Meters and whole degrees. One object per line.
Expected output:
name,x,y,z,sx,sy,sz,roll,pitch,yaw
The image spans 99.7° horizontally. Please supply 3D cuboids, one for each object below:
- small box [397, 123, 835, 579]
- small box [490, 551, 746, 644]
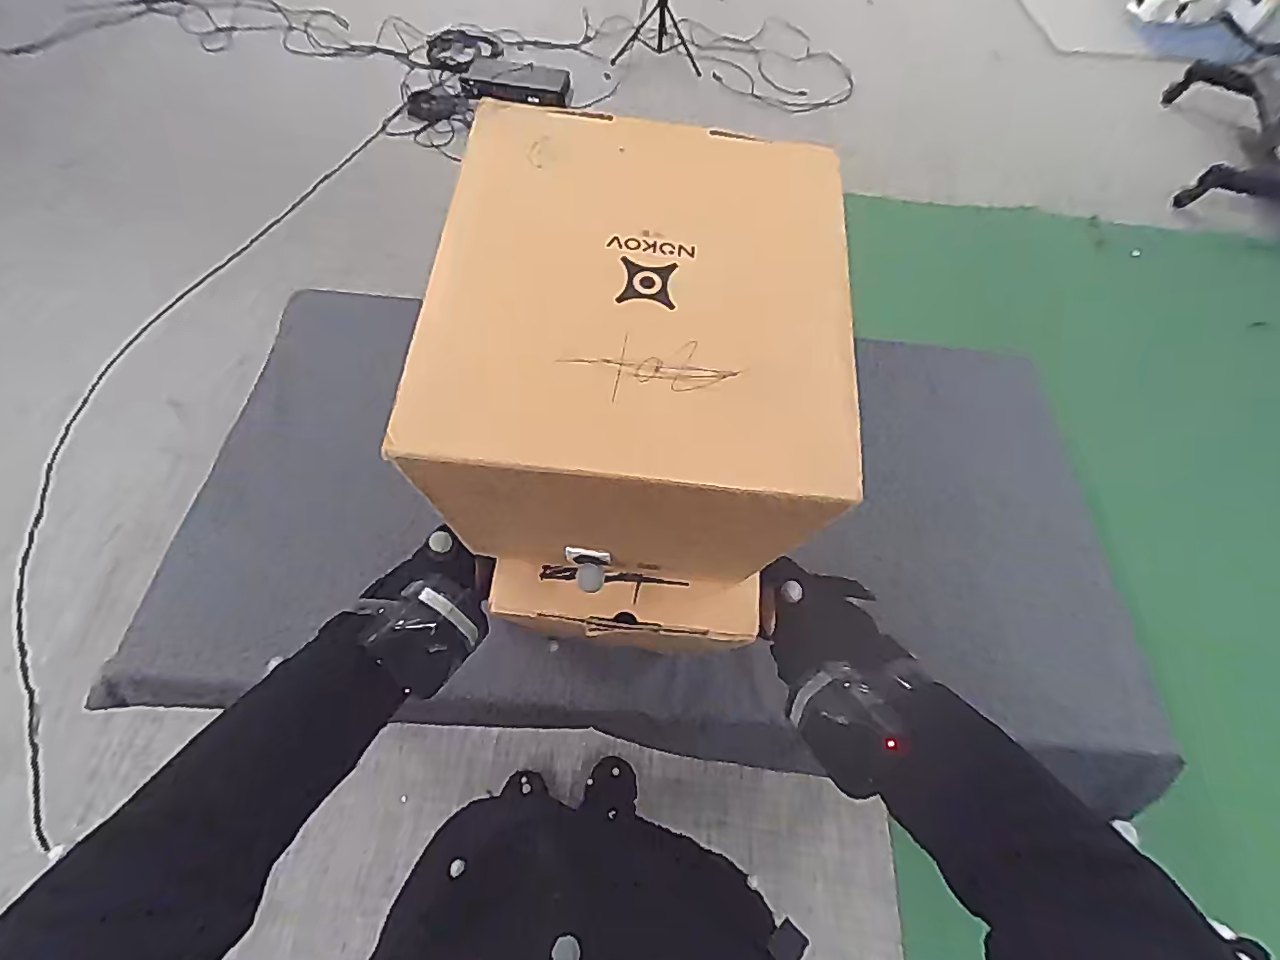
small box,-0.008,-0.053,0.303,0.168,0.176,0.179,5,69,-2
small box,-0.014,0.038,0.442,0.168,0.176,0.179,4,69,-3
